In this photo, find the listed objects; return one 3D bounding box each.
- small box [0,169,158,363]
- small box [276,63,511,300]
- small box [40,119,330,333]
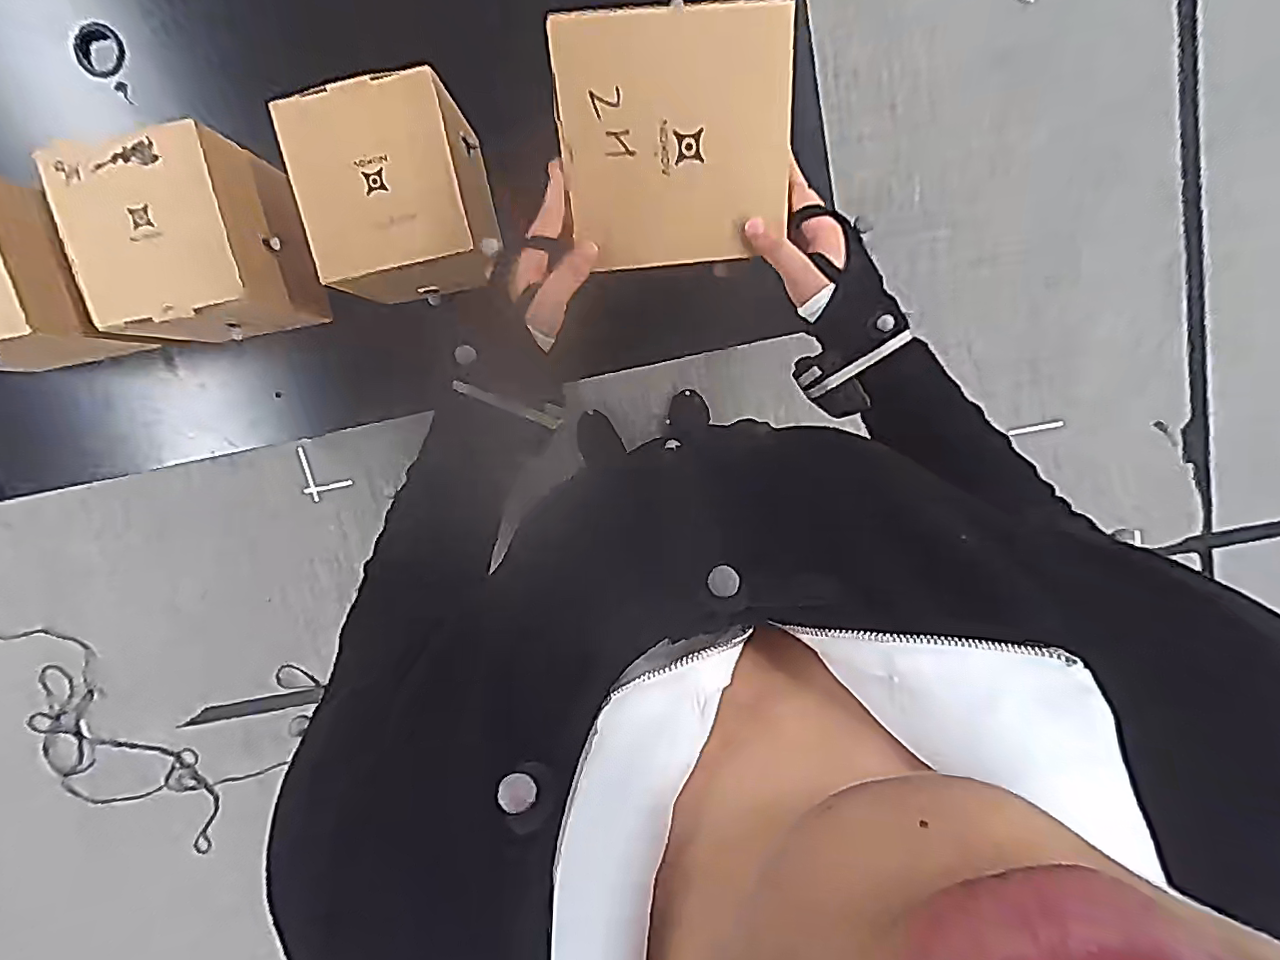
[{"bbox_3d":[-0.725,-0.234,0.625,0.179,0.176,0.168,-11,101,0],"label":"small box"},{"bbox_3d":[-0.263,-0.322,0.621,0.168,0.176,0.179,-12,101,2],"label":"small box"},{"bbox_3d":[-0.496,-0.271,0.624,0.168,0.176,0.179,-11,100,0],"label":"small box"}]
